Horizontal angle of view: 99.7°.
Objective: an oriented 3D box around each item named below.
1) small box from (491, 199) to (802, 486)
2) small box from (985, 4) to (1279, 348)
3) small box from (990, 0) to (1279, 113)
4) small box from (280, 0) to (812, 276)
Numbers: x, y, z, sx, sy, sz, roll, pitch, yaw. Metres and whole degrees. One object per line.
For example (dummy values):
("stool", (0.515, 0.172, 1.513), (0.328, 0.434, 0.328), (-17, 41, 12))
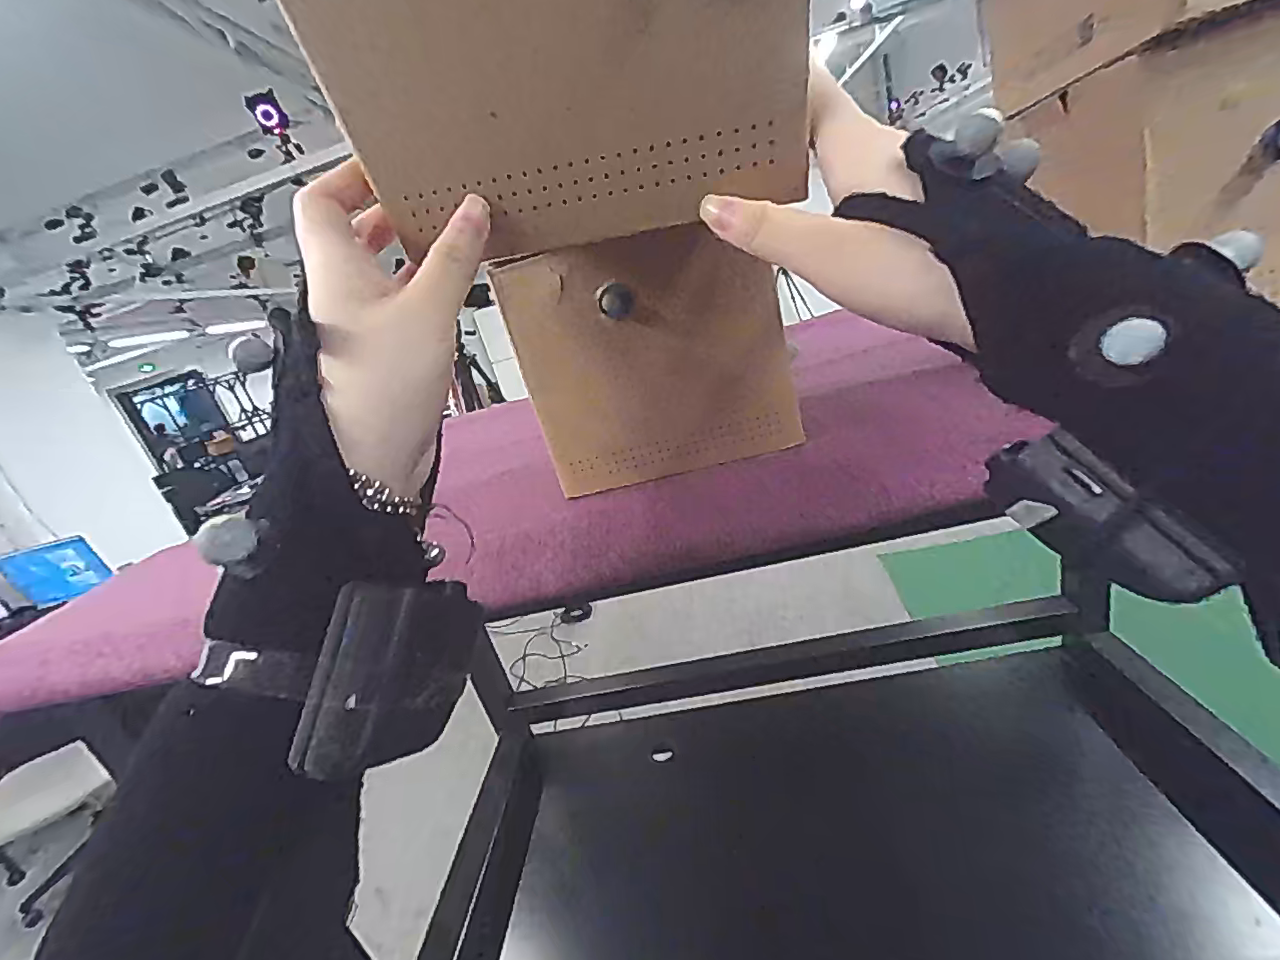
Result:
("small box", (0.015, -0.108, 0.428), (0.179, 0.176, 0.168), (-12, 21, 10))
("small box", (0.380, -0.200, 0.375), (0.179, 0.176, 0.168), (-15, 18, 10))
("small box", (0.332, -0.345, 0.314), (0.179, 0.176, 0.168), (-14, 17, 10))
("small box", (-0.028, -0.211, 0.227), (0.179, 0.176, 0.168), (-8, 45, 10))
